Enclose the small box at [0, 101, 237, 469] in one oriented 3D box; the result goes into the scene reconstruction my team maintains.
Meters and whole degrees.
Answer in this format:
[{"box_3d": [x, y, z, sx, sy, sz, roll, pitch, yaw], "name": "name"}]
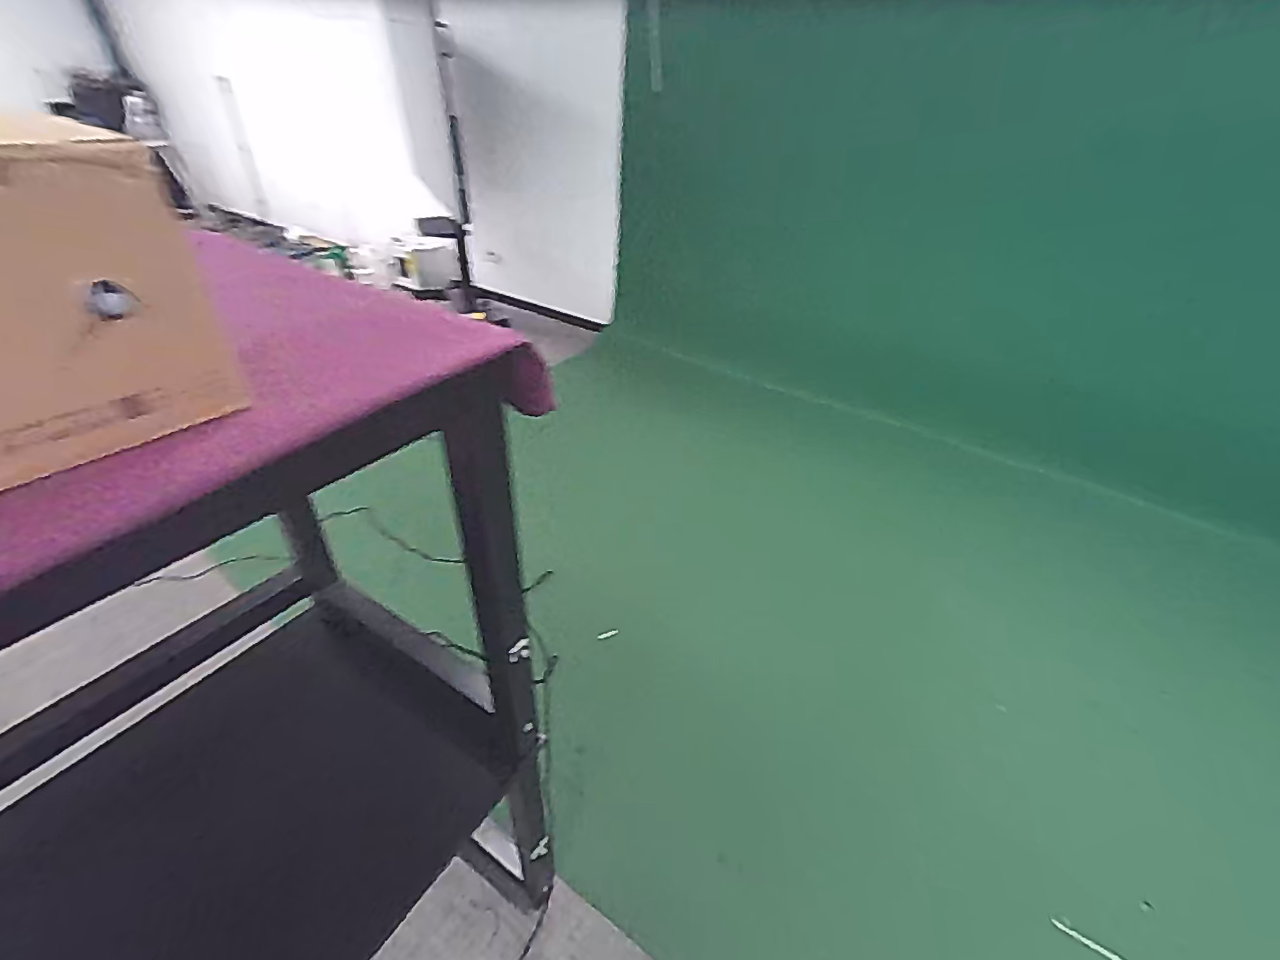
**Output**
[{"box_3d": [-0.388, -0.116, 0.321, 0.179, 0.176, 0.168, 26, 41, 28], "name": "small box"}]
